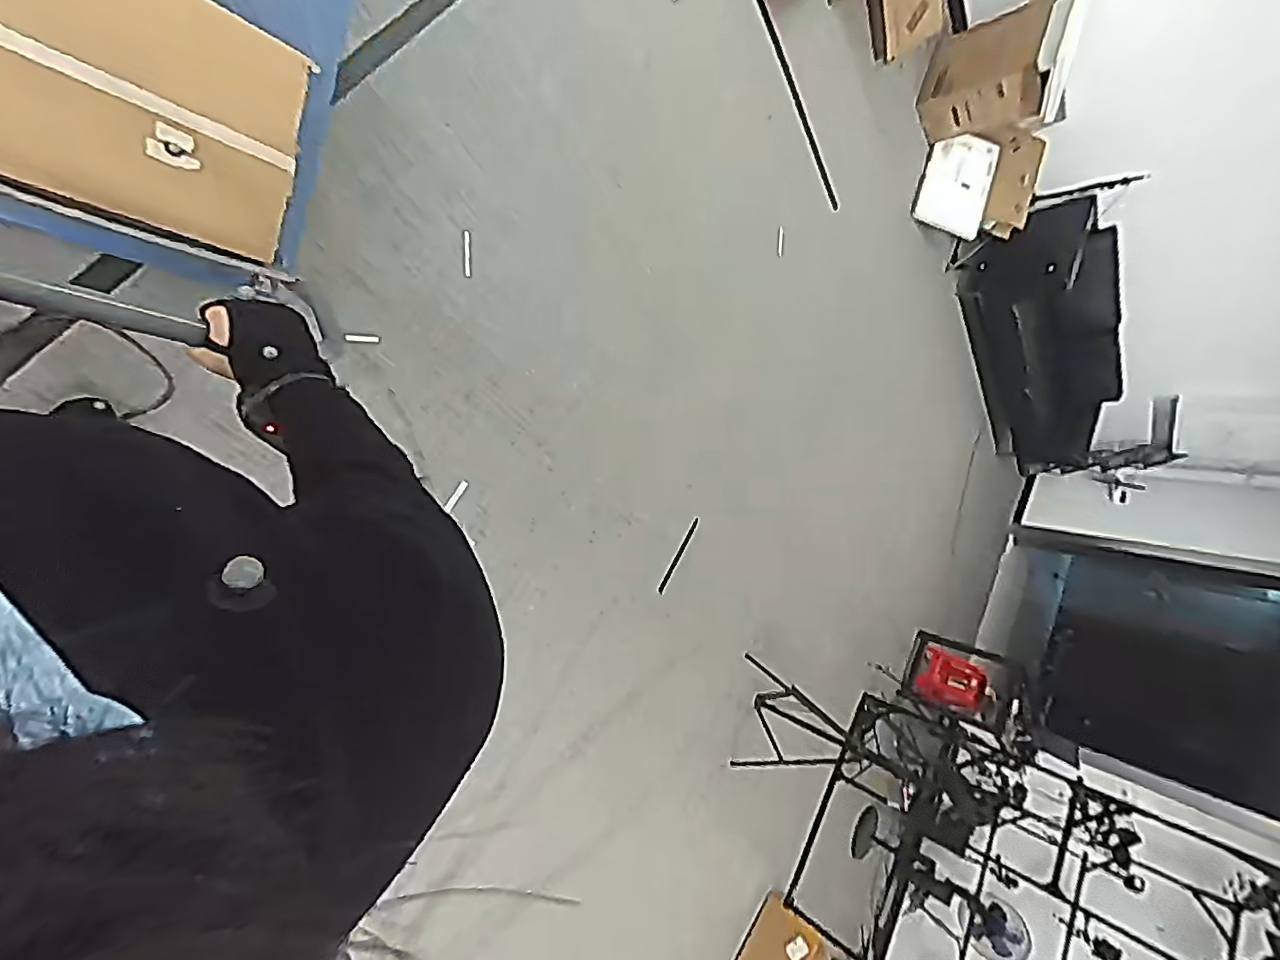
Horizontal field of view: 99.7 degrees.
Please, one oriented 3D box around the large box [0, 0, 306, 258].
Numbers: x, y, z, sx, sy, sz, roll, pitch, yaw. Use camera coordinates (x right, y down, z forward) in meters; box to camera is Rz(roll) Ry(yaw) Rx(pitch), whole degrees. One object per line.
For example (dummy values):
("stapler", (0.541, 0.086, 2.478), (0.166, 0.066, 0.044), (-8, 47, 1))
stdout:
("large box", (-0.792, -0.567, 0.815), (0.408, 0.320, 0.320), (8, 105, -46))
